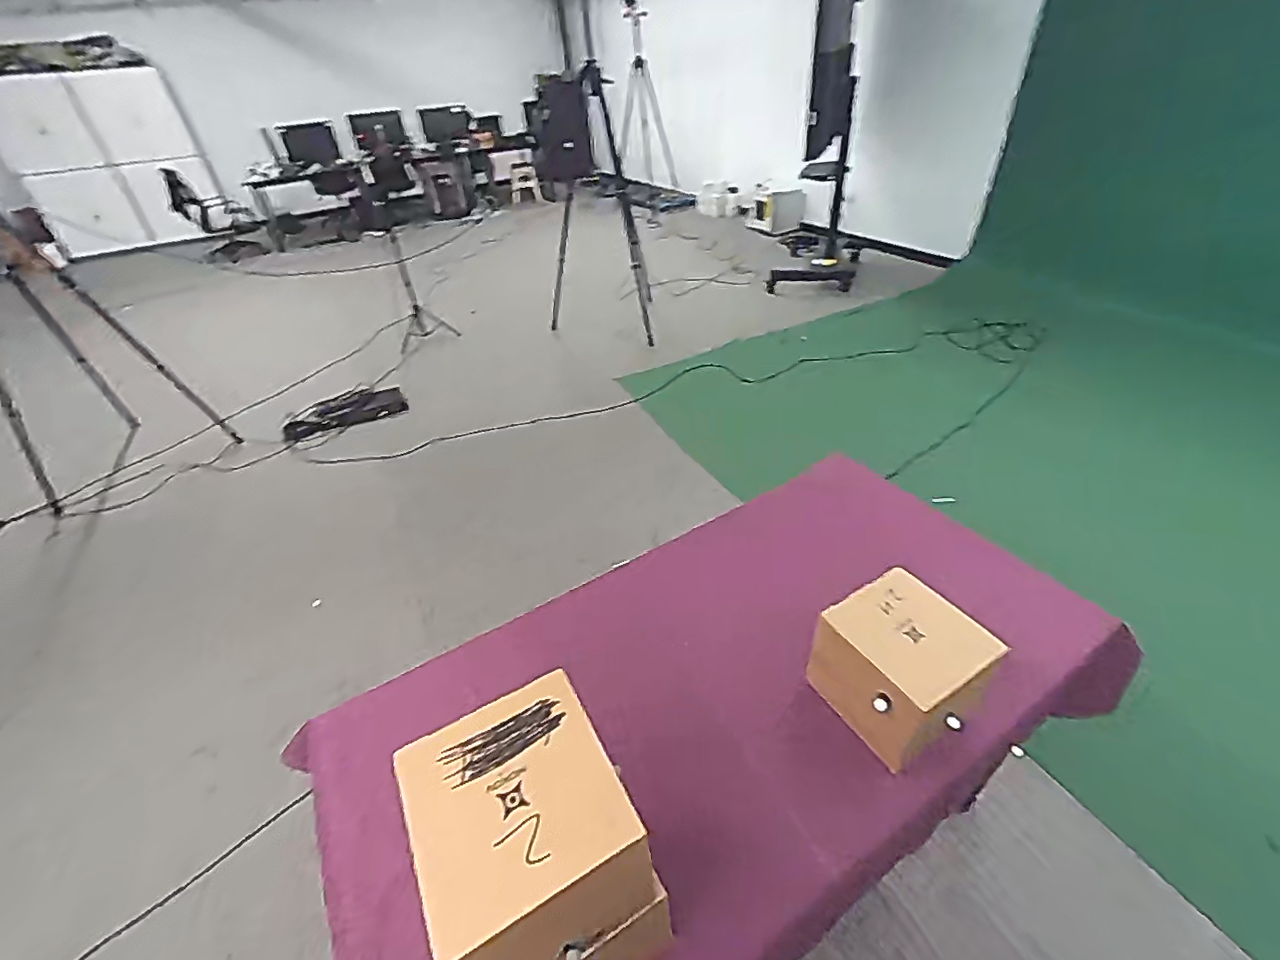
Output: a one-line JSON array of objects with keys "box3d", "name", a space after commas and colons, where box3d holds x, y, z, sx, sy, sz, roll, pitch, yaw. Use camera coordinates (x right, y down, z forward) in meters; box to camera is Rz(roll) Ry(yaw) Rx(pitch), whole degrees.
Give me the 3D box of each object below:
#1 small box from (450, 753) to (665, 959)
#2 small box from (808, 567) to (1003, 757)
[{"box3d": [-0.085, 0.457, 0.602, 0.179, 0.176, 0.168, -22, 41, -22], "name": "small box"}, {"box3d": [0.368, 0.267, 0.783, 0.168, 0.176, 0.179, -23, 40, -21], "name": "small box"}]
